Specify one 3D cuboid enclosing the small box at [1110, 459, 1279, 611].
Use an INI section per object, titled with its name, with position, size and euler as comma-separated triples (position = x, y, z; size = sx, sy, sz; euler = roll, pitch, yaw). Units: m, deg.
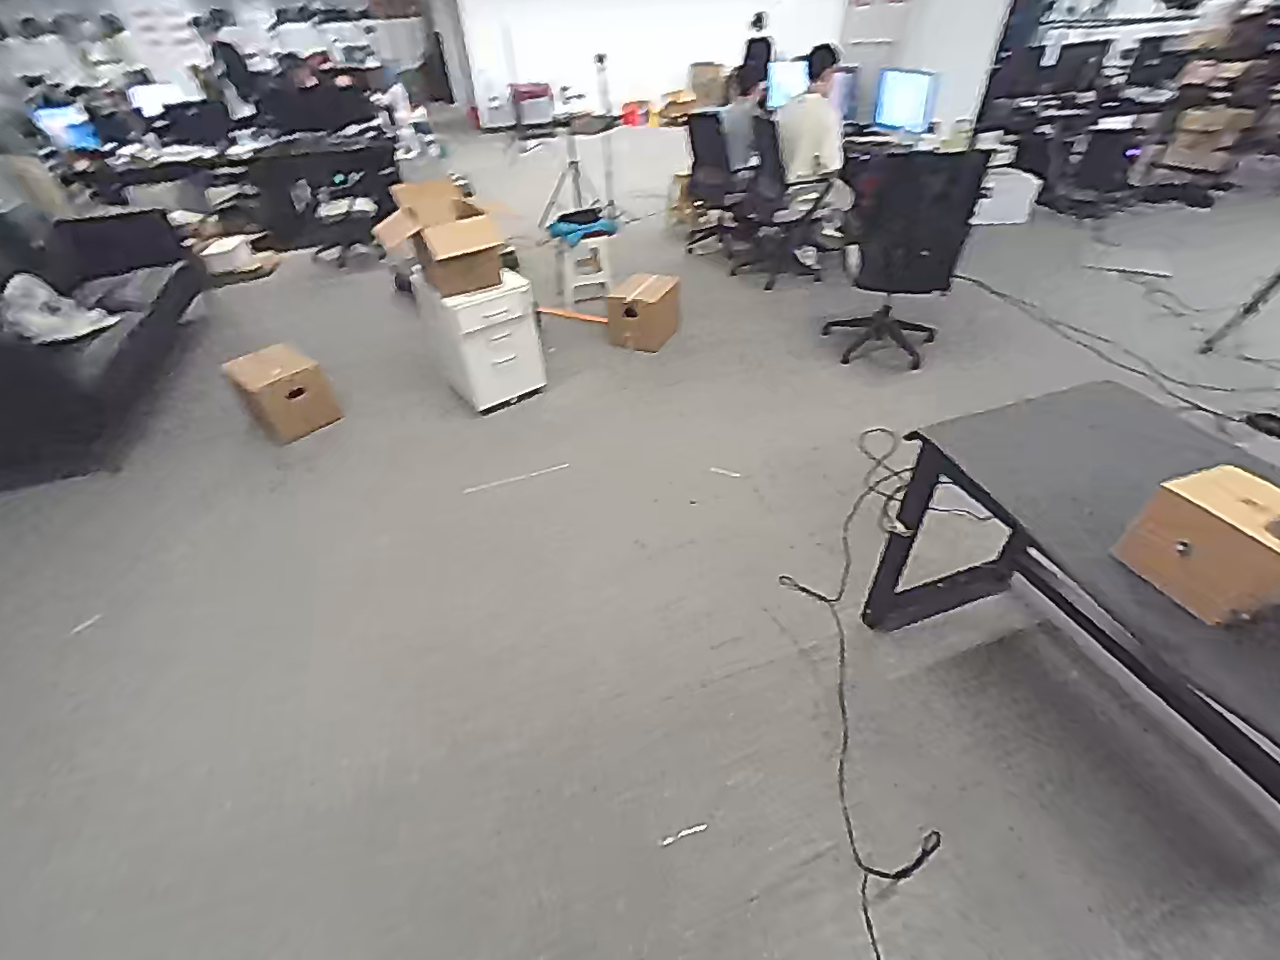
[small box]
position = 0.950, 0.094, 0.890
size = 0.168, 0.176, 0.179
euler = -12, 39, -13
